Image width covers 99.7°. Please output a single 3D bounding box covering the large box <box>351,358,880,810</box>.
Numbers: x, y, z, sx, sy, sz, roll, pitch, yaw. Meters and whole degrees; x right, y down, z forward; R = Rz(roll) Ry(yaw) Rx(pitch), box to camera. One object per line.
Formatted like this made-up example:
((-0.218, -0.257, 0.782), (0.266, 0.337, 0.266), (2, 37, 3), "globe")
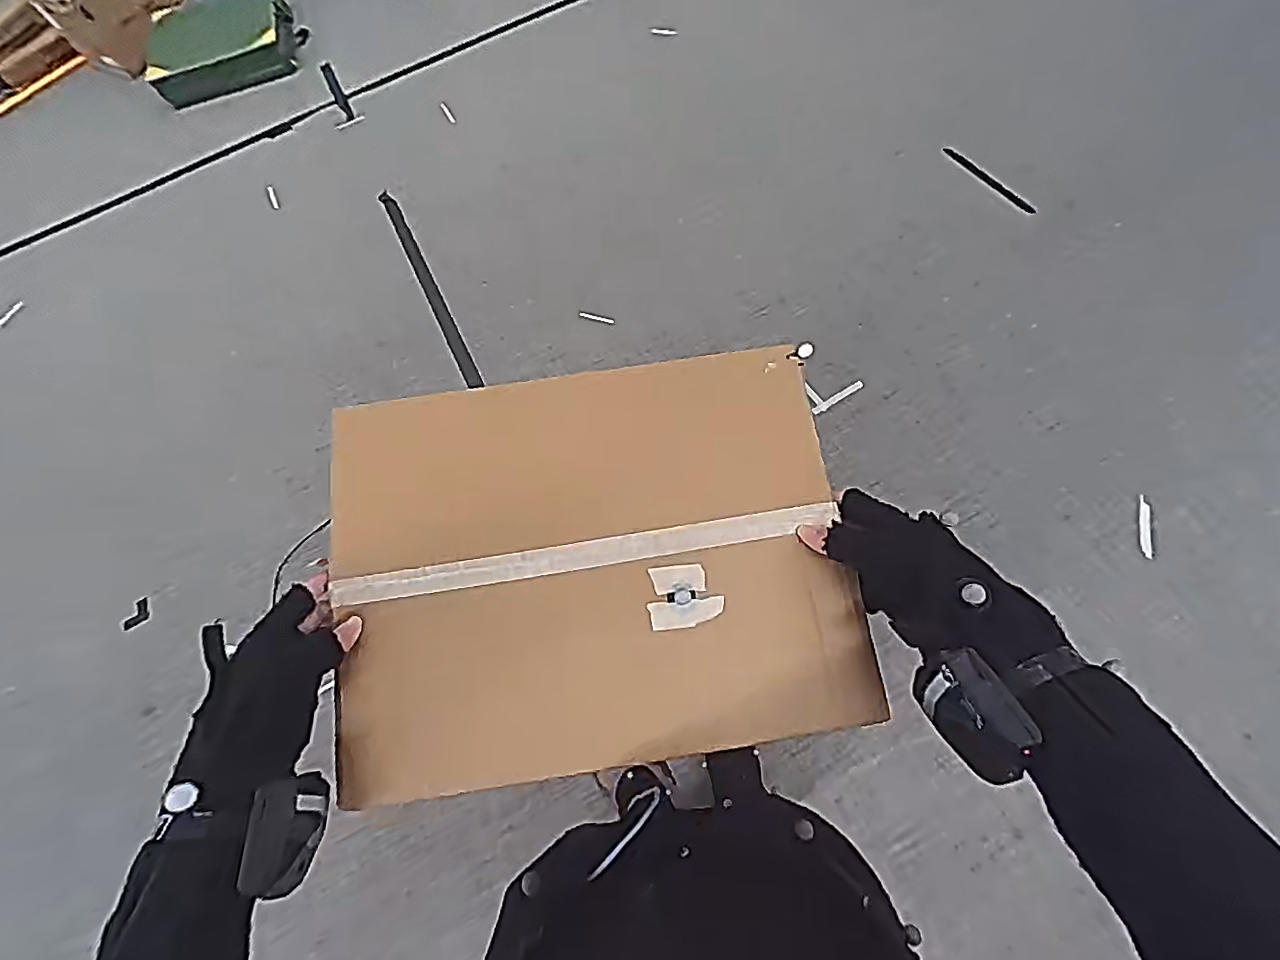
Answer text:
((-0.036, 0.105, 0.586), (0.408, 0.320, 0.320), (-9, 76, -3), "large box")
